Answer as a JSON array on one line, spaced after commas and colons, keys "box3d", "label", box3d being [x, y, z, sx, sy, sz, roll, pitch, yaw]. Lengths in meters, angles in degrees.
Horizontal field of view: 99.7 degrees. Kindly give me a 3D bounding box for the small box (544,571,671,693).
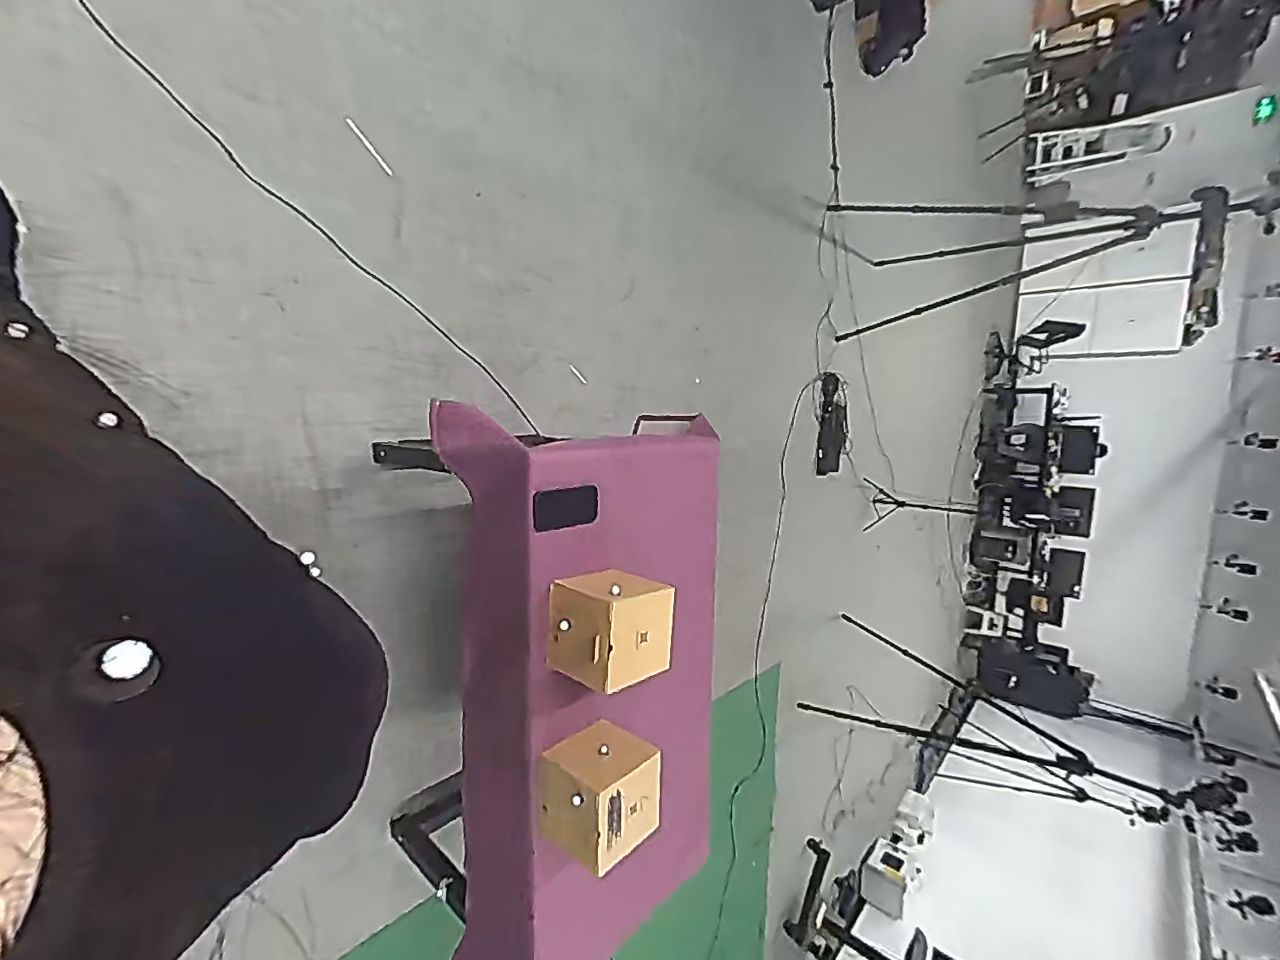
[{"box3d": [-0.063, 0.282, 1.051, 0.179, 0.176, 0.168, -1, 97, -47], "label": "small box"}]
